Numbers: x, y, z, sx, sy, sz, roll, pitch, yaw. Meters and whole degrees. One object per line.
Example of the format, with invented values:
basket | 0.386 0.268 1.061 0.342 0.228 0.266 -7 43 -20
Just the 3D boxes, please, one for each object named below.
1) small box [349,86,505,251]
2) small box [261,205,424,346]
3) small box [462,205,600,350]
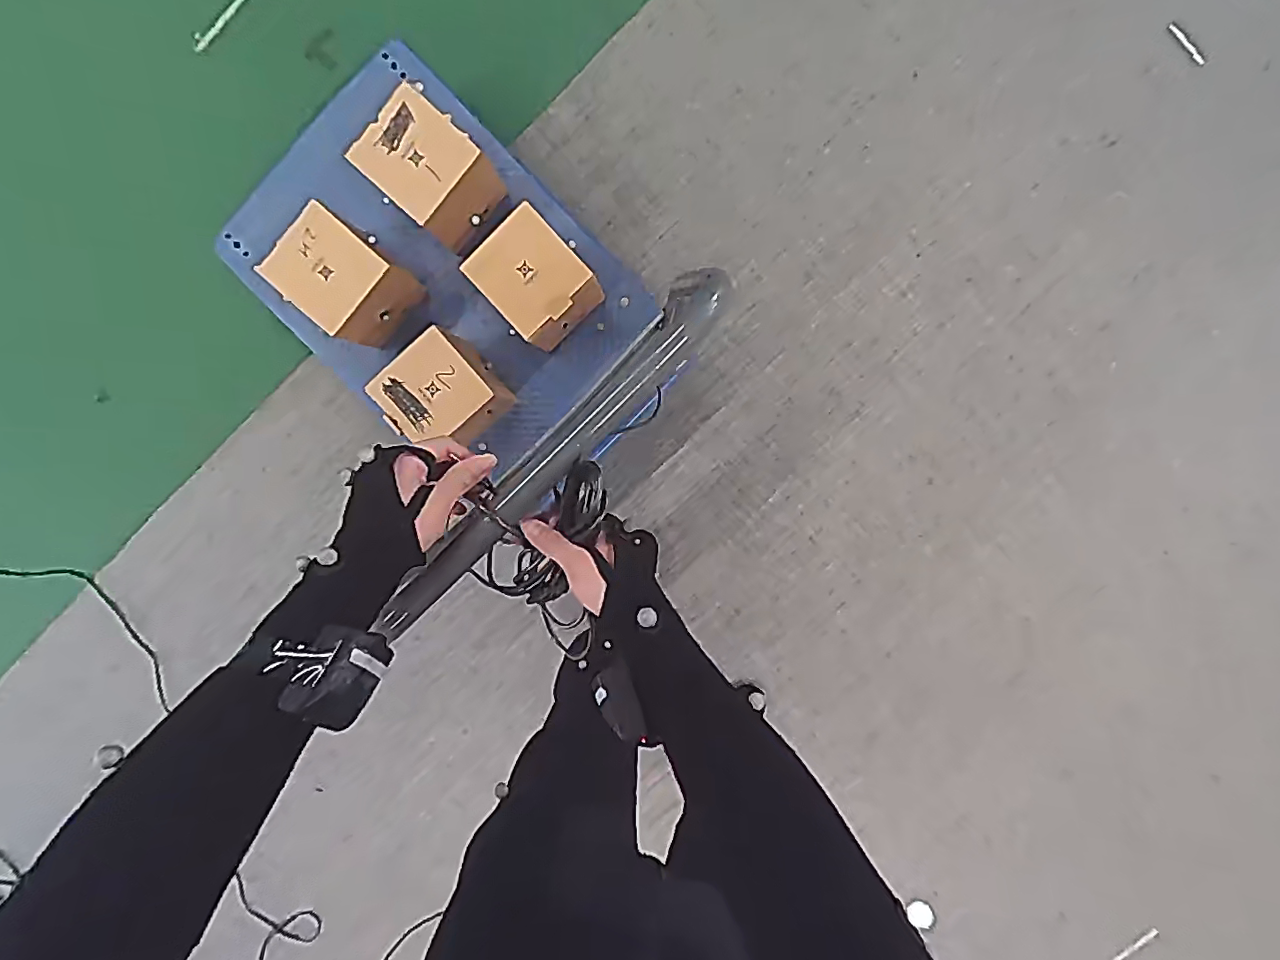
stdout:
small box | -0.384 -0.560 1.004 0.179 0.176 0.168 42 97 -4
small box | -0.550 -0.373 1.030 0.179 0.176 0.168 42 95 -3
small box | -0.194 -0.368 1.021 0.168 0.176 0.179 -43 94 5
